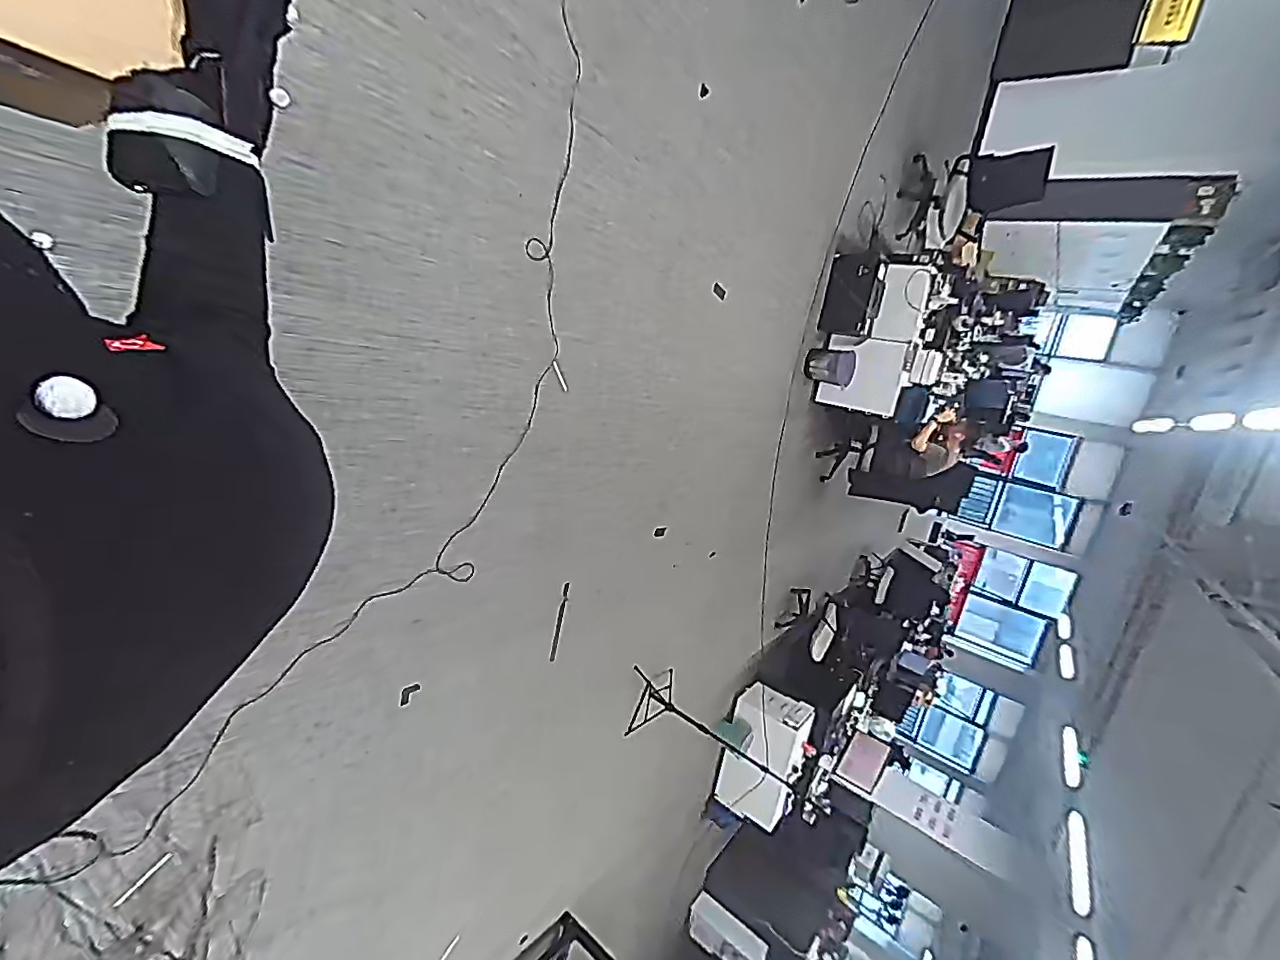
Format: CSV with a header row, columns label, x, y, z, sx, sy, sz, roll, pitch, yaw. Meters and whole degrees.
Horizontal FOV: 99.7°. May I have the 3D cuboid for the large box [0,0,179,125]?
label,x,y,z,sx,sy,sz,roll,pitch,yaw
large box,-0.532,-0.432,0.264,0.408,0.320,0.320,-8,115,-55
